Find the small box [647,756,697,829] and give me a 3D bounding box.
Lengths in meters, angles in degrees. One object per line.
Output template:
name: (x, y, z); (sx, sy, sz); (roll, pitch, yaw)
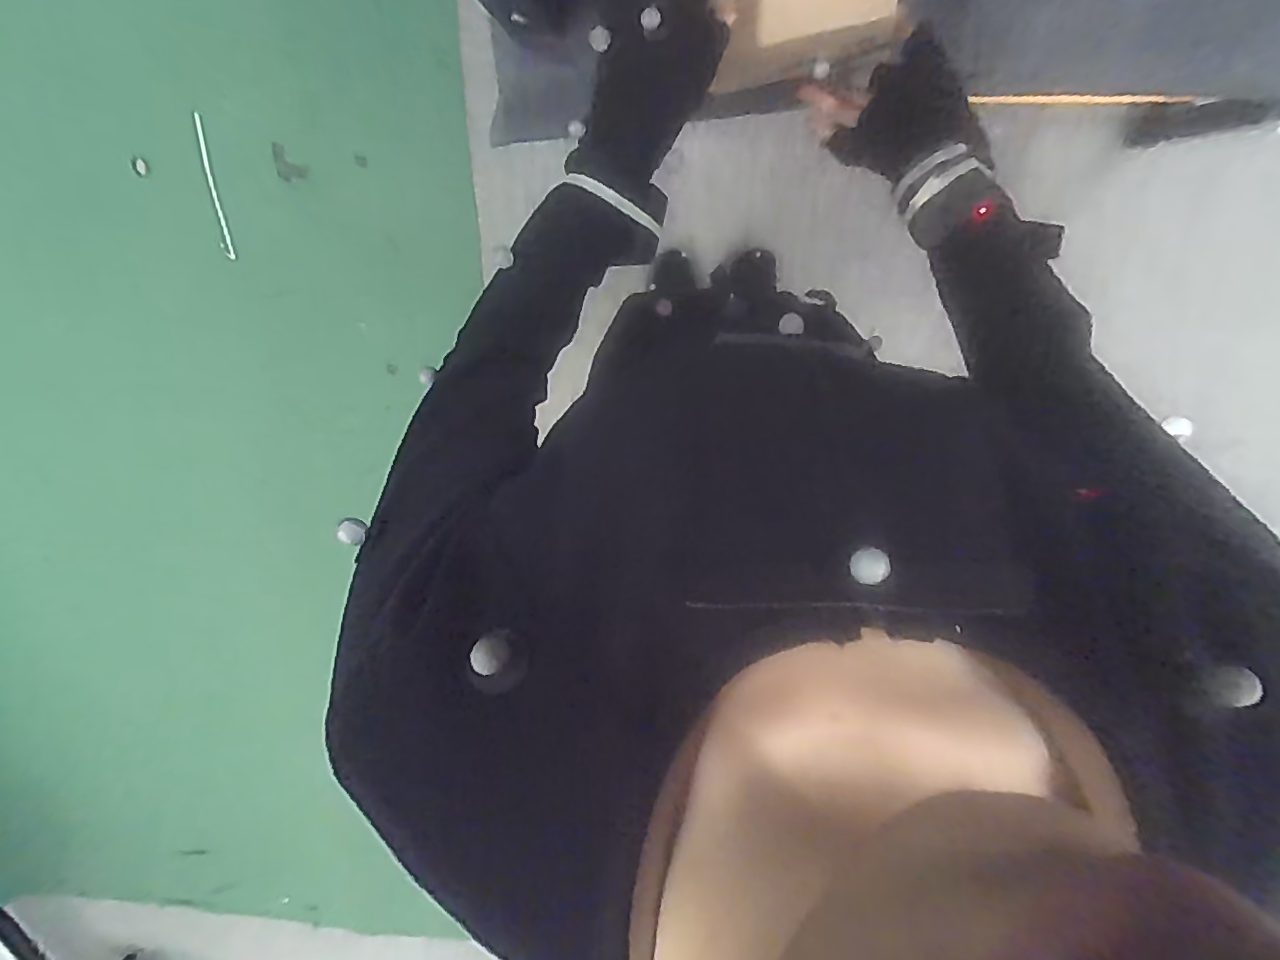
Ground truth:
small box: (0.117, 1.131, 1.963); (0.168, 0.176, 0.179); (-4, 114, 8)
